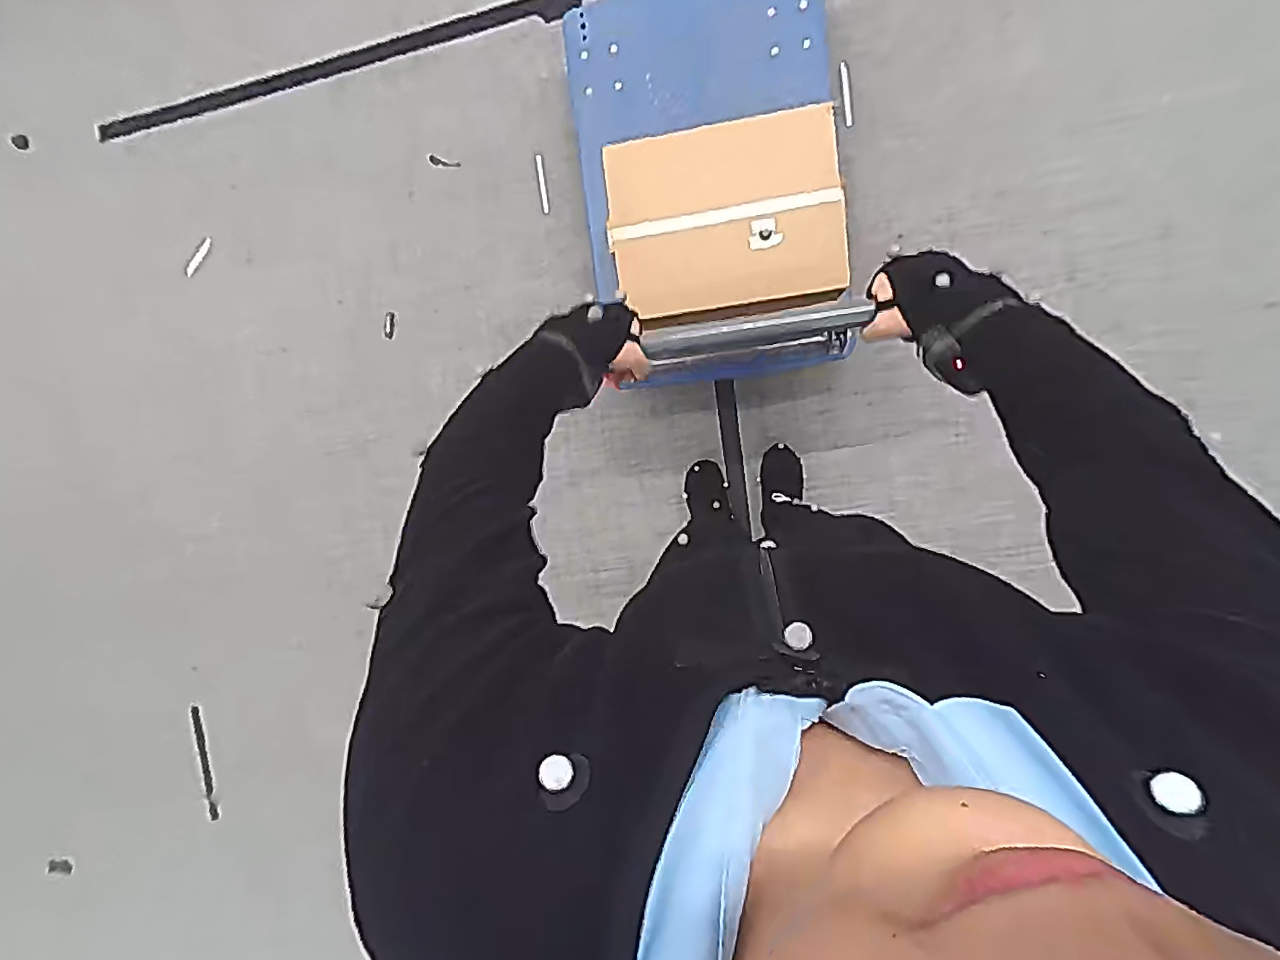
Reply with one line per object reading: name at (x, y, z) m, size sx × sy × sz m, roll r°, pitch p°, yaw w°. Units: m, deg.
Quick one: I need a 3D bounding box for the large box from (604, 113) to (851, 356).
large box at (0.165, -0.454, 1.092) m, size 0.408 × 0.320 × 0.320 m, roll -7°, pitch 95°, yaw 7°
